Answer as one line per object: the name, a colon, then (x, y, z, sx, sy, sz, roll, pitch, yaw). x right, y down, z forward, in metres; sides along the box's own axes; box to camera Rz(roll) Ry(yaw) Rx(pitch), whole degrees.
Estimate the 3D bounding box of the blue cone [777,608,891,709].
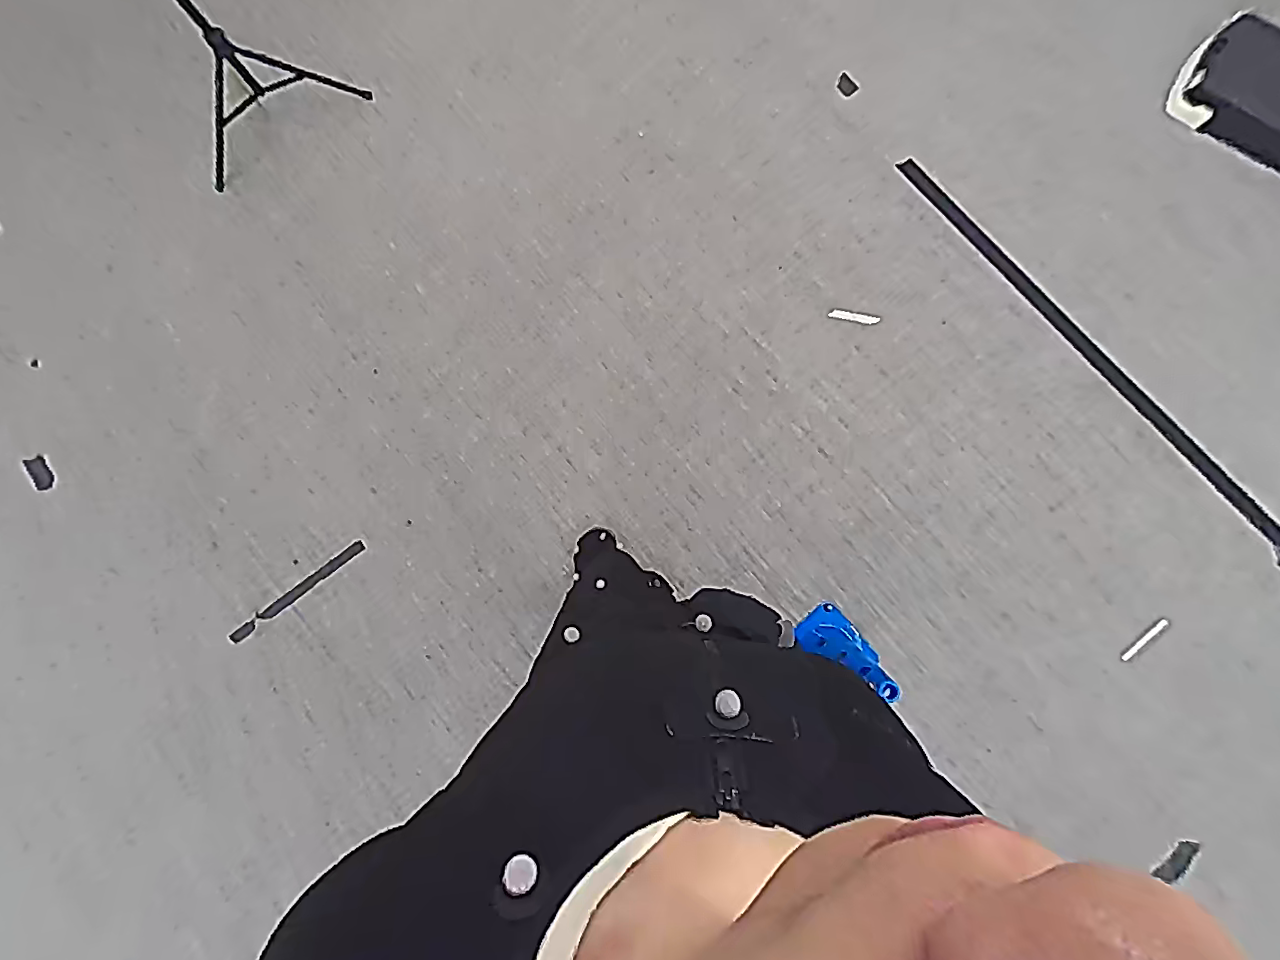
blue cone: (0.452, 0.419, 1.168, 0.193, 0.380, 0.192, -39, 83, -4)
